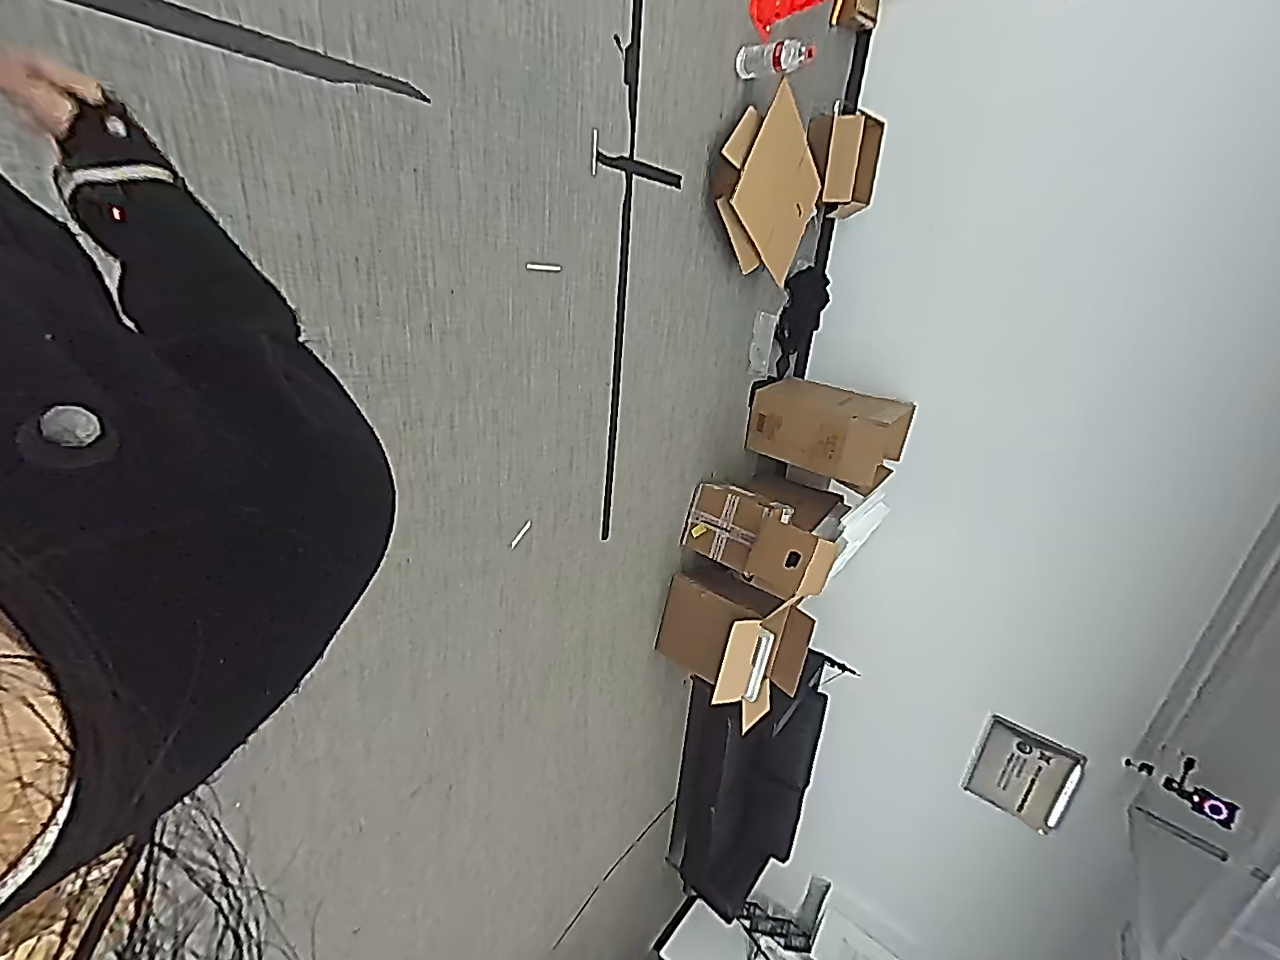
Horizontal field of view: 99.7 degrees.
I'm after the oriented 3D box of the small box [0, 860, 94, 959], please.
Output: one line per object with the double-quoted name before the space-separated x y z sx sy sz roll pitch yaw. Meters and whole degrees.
"small box" -1.103 0.822 0.938 0.179 0.176 0.168 -22 122 -46
